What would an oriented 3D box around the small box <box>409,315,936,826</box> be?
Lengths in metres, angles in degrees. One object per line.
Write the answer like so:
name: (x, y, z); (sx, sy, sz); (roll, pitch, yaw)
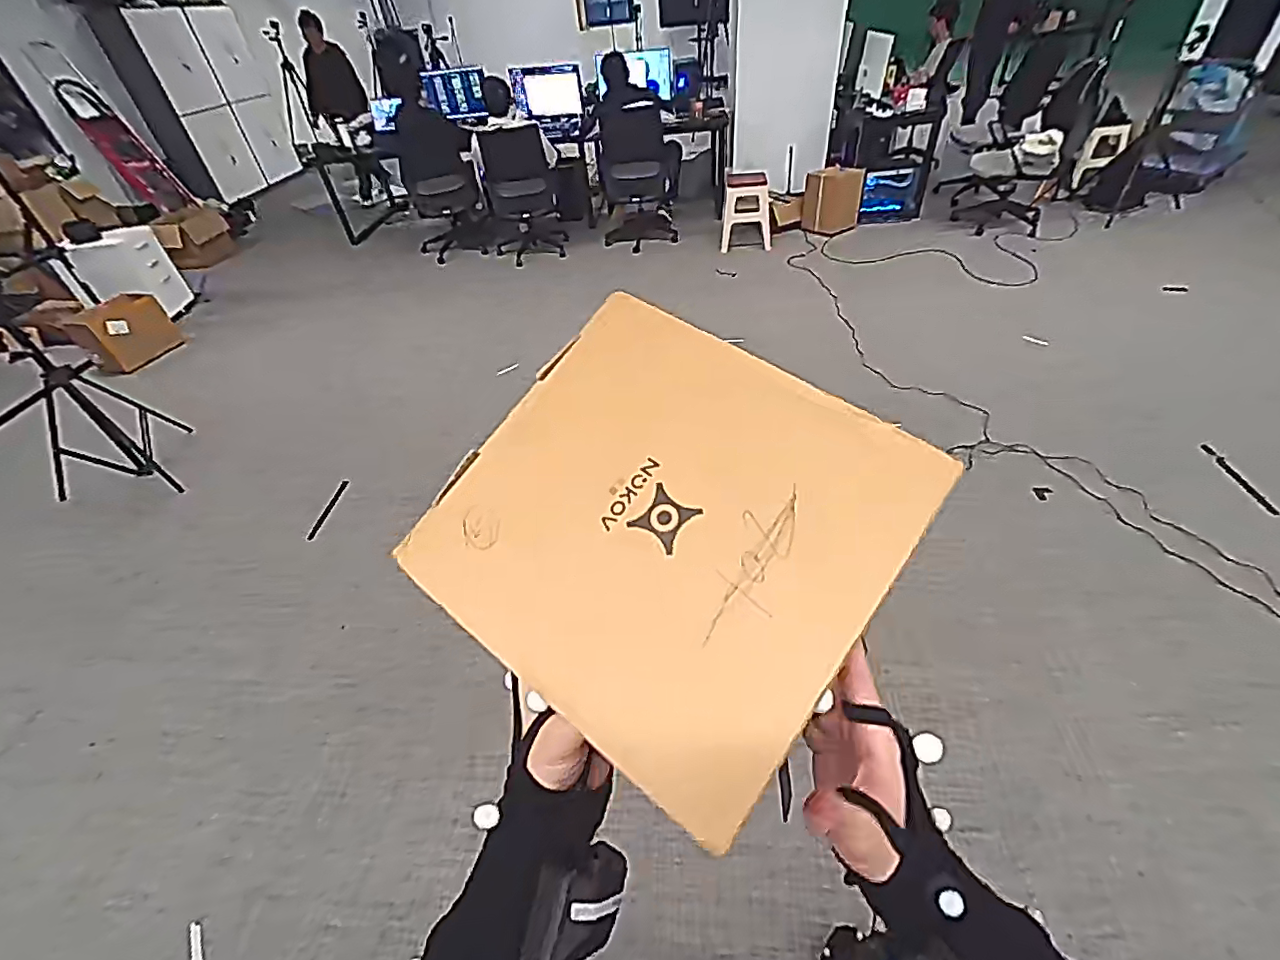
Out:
small box: (0.021, 0.048, 0.307); (0.179, 0.176, 0.168); (32, 78, 20)
